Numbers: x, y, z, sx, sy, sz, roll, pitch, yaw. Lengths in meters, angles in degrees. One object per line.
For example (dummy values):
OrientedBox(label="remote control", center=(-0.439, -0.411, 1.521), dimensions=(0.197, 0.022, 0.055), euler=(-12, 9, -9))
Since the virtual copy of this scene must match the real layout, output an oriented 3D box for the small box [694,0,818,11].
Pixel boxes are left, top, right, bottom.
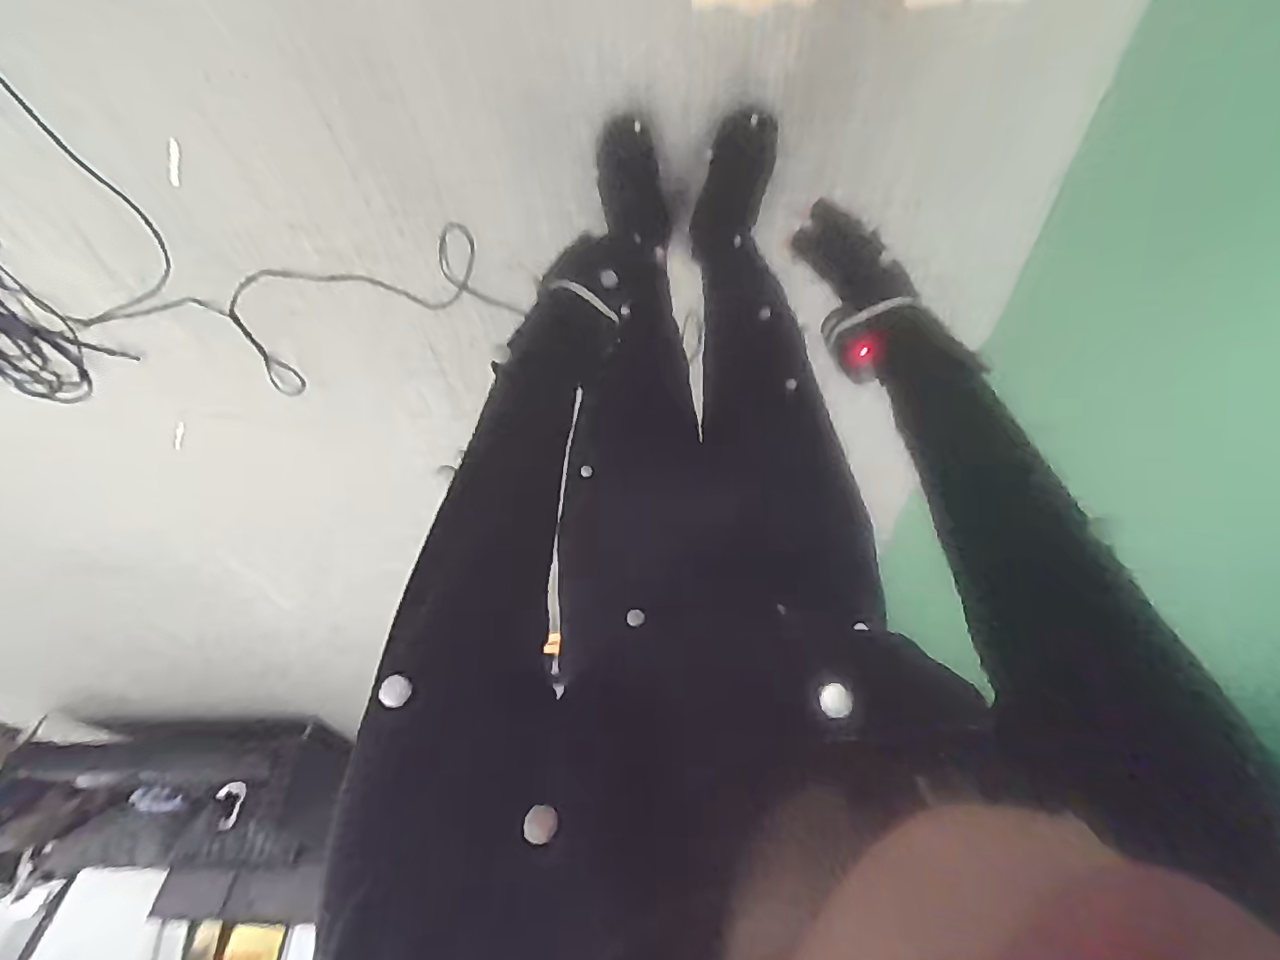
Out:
OrientedBox(label="small box", center=(0.150, -0.735, 0.697), dimensions=(0.168, 0.176, 0.179), euler=(0, 140, 2))
